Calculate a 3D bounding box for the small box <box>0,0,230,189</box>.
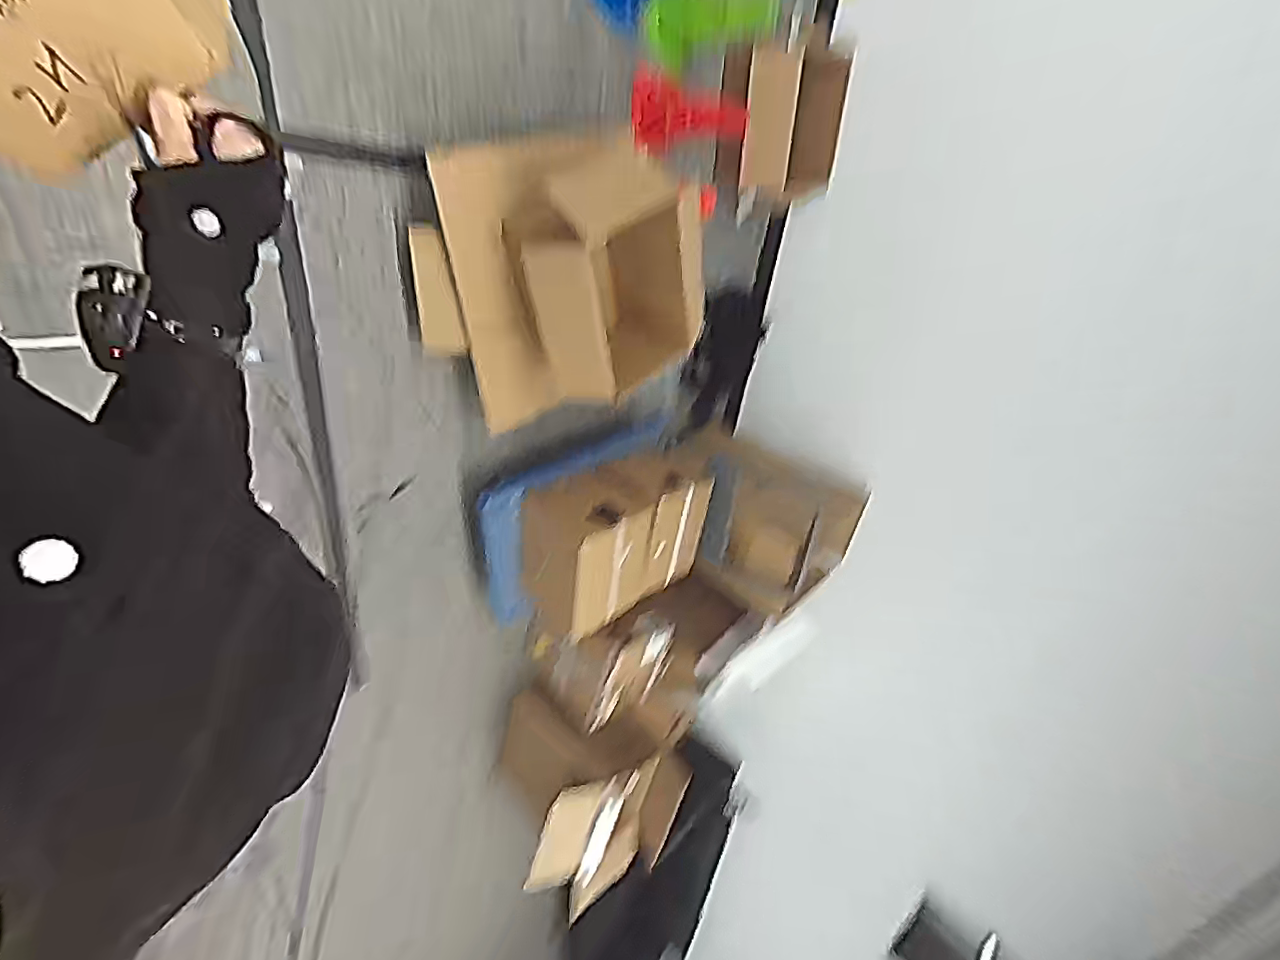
[{"bbox_3d":[-0.420,-0.348,0.360,0.168,0.176,0.179,-30,149,5],"label":"small box"}]
